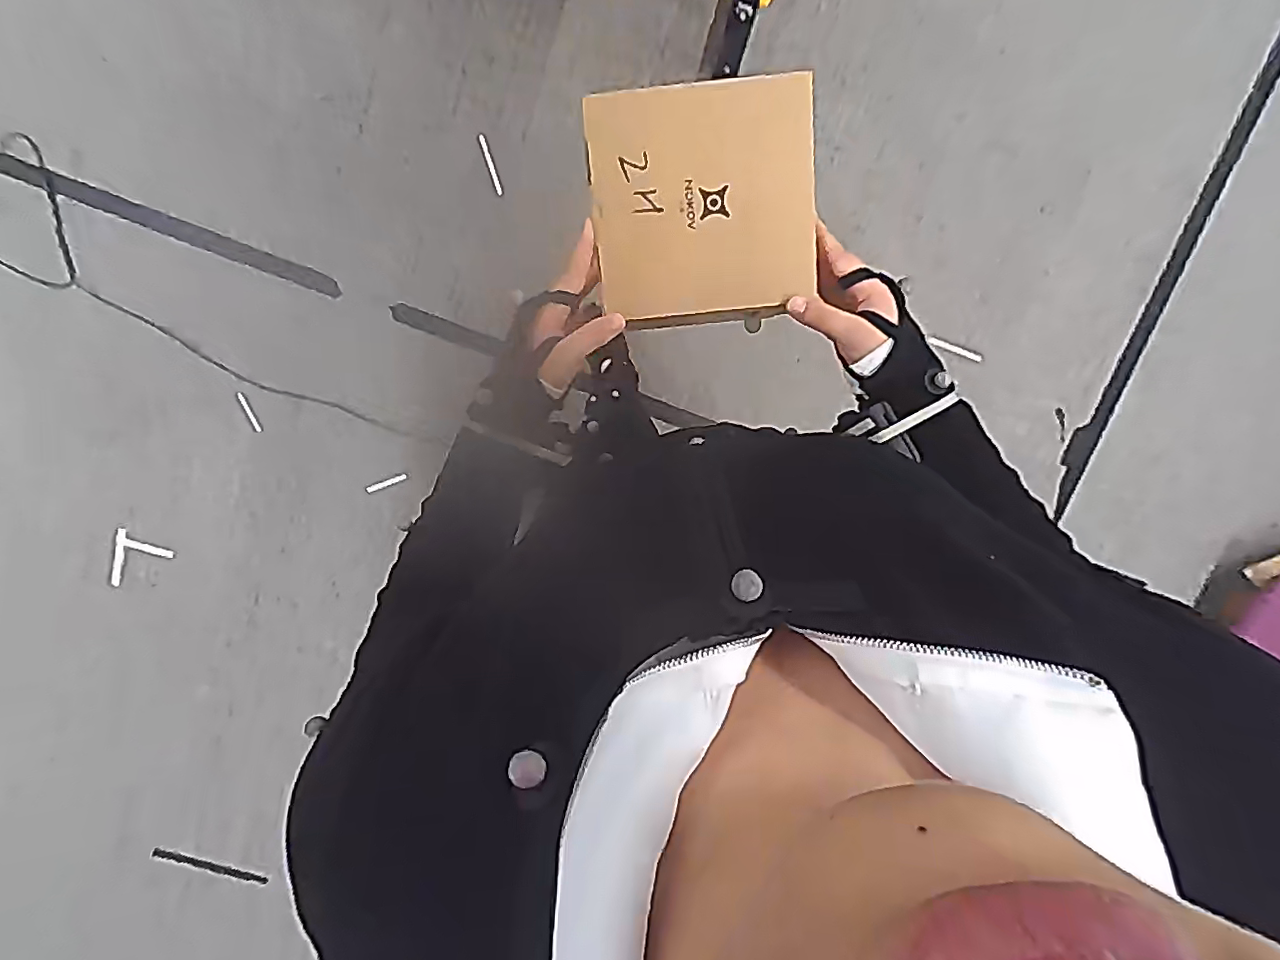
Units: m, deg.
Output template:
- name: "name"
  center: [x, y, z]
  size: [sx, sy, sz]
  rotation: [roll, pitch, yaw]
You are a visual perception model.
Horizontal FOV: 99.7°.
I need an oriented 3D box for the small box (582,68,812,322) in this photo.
- name: "small box"
  center: [0.048, -0.243, 0.504]
  size: [0.179, 0.176, 0.168]
  rotation: [-5, 102, 2]
